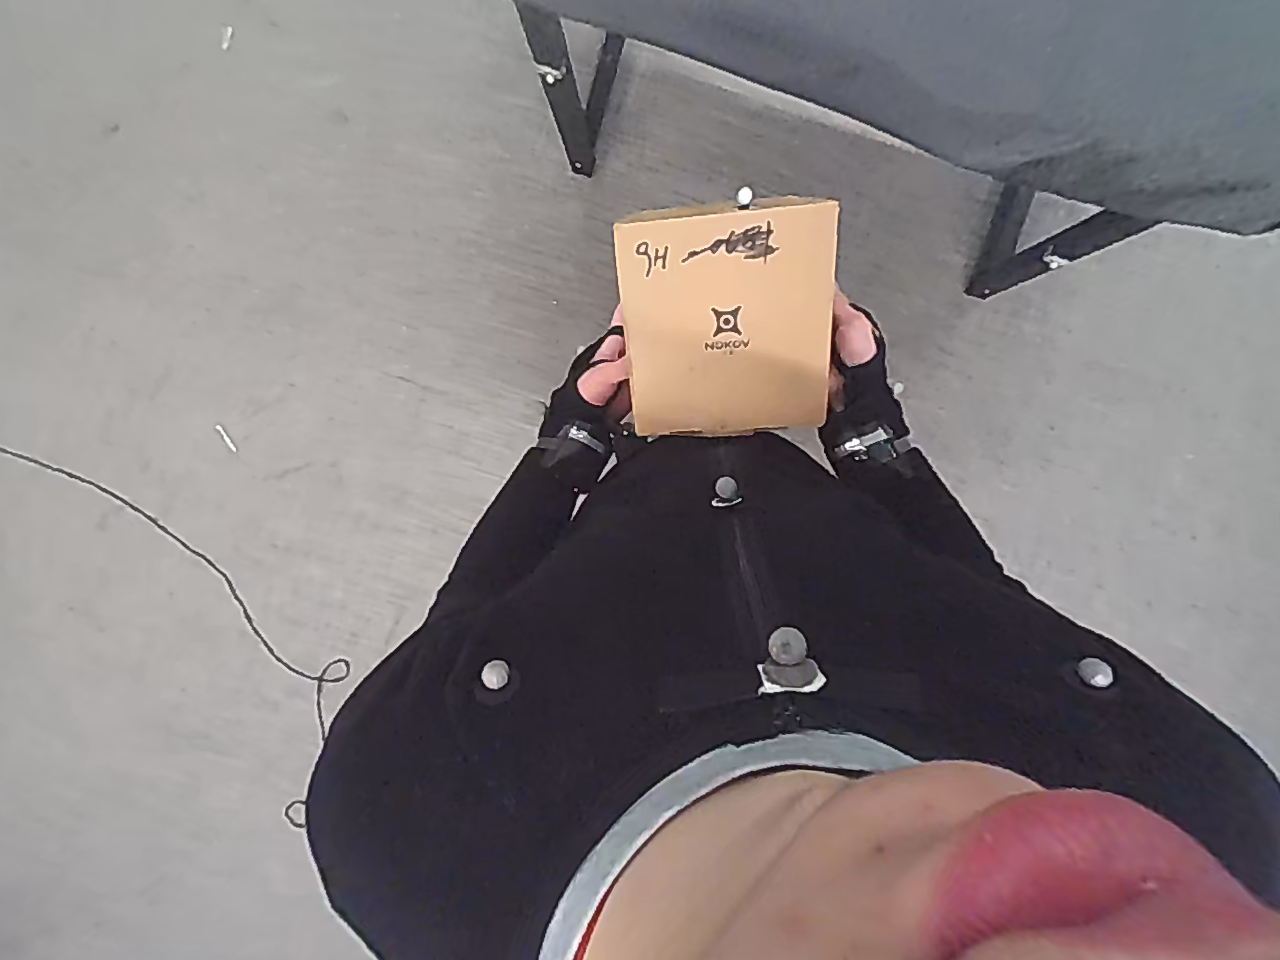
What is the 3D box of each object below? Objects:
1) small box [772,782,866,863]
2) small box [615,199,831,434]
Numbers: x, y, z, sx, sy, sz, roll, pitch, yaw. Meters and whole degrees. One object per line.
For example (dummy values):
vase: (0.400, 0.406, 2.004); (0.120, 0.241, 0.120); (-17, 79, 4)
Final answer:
small box: (0.515, 1.030, 1.577); (0.179, 0.176, 0.168); (30, 94, -1)
small box: (0.074, -0.160, 0.517); (0.168, 0.176, 0.179); (-2, 120, 6)
